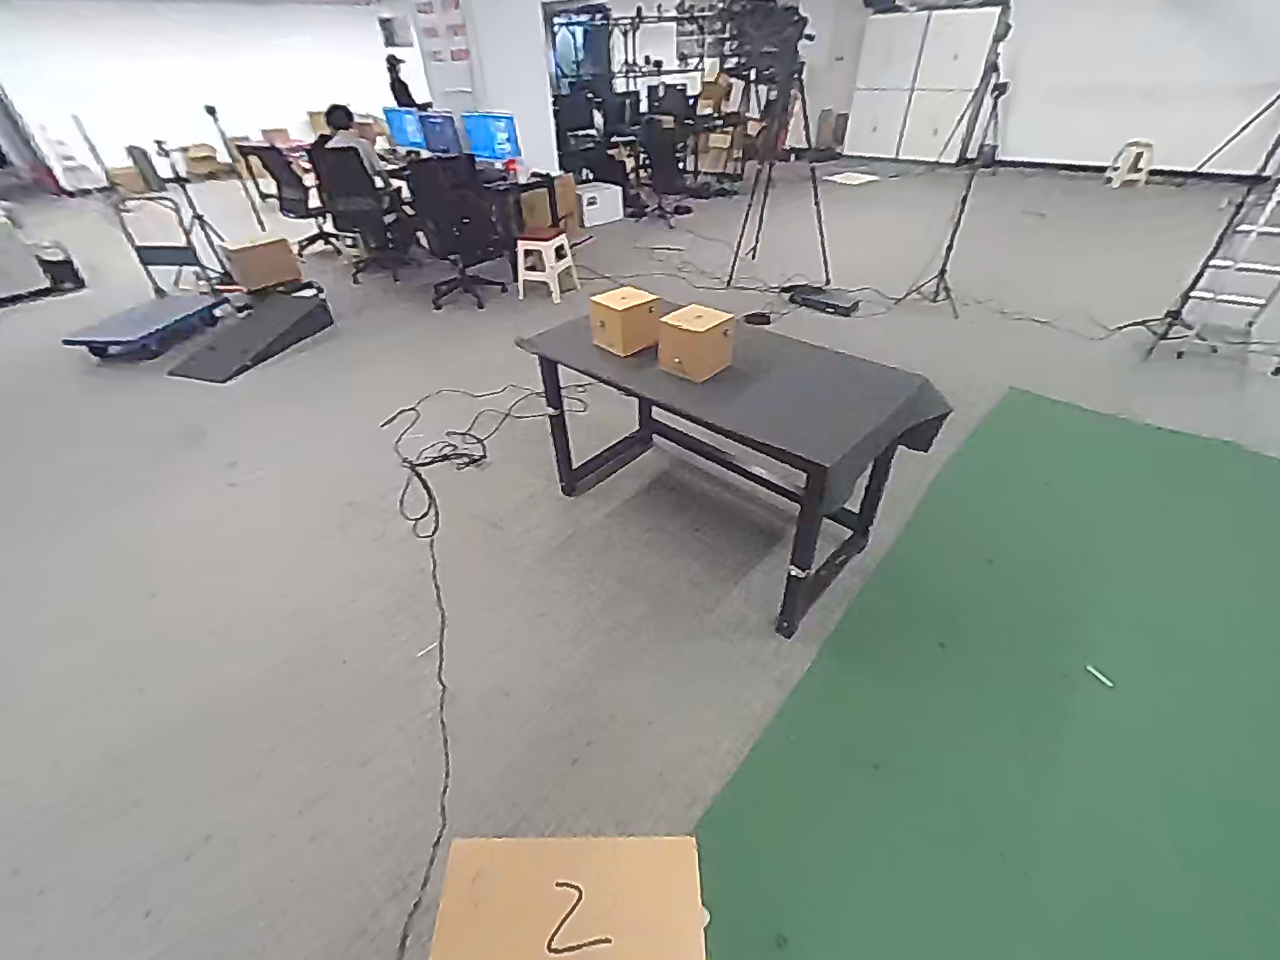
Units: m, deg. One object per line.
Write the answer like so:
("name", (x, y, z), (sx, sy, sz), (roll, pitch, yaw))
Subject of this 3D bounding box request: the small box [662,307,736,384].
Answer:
("small box", (0.183, -0.427, 1.714), (0.168, 0.176, 0.179), (28, 46, 34))

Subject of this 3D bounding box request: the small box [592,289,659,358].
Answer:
("small box", (-0.046, -0.542, 1.874), (0.179, 0.176, 0.168), (-29, 45, -32))
